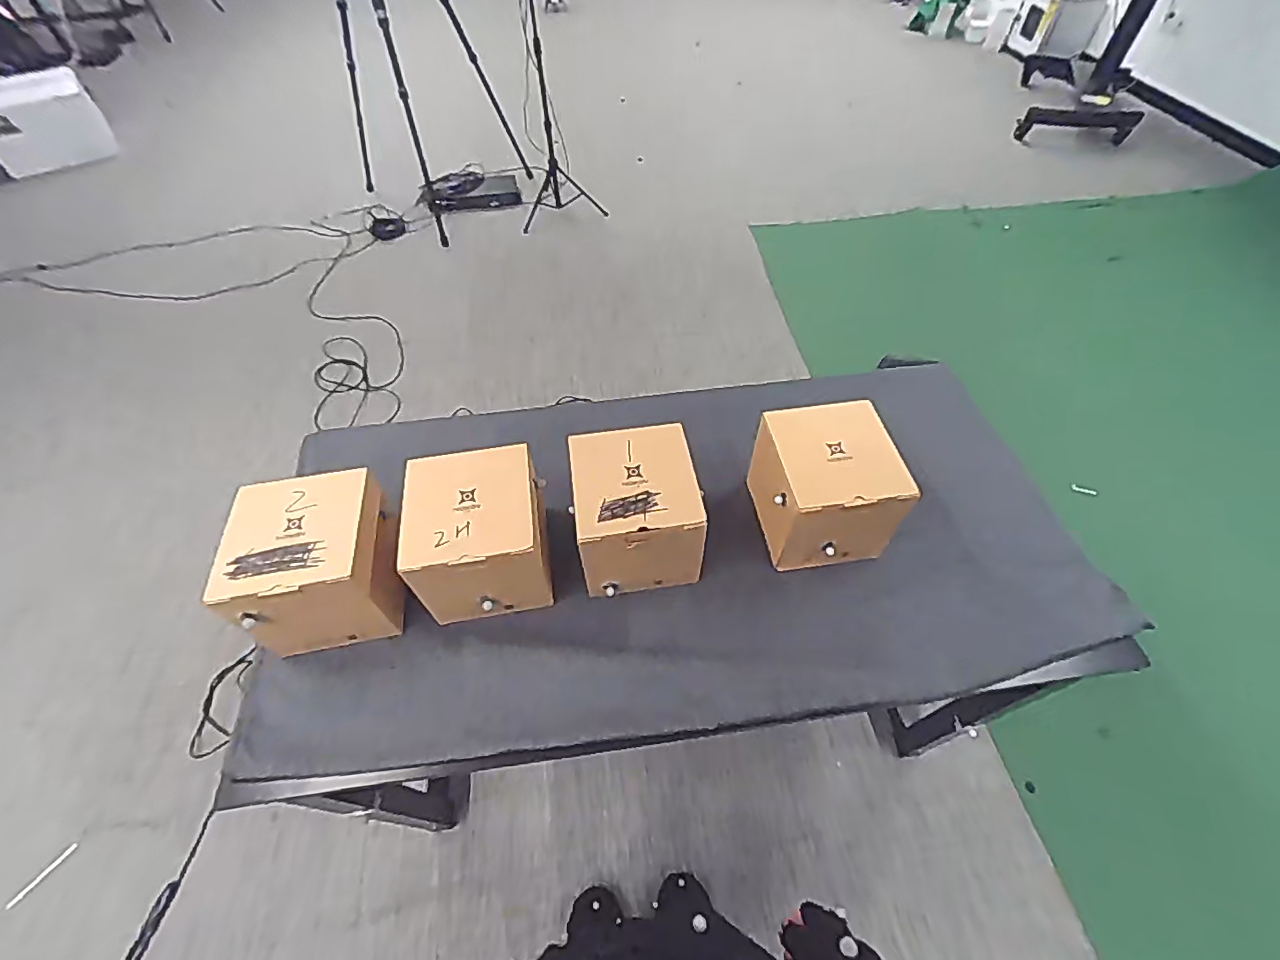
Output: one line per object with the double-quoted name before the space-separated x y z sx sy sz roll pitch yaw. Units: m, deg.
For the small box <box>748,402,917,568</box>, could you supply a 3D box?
"small box" 0.269 0.009 0.809 0.168 0.176 0.179 -7 54 -5
